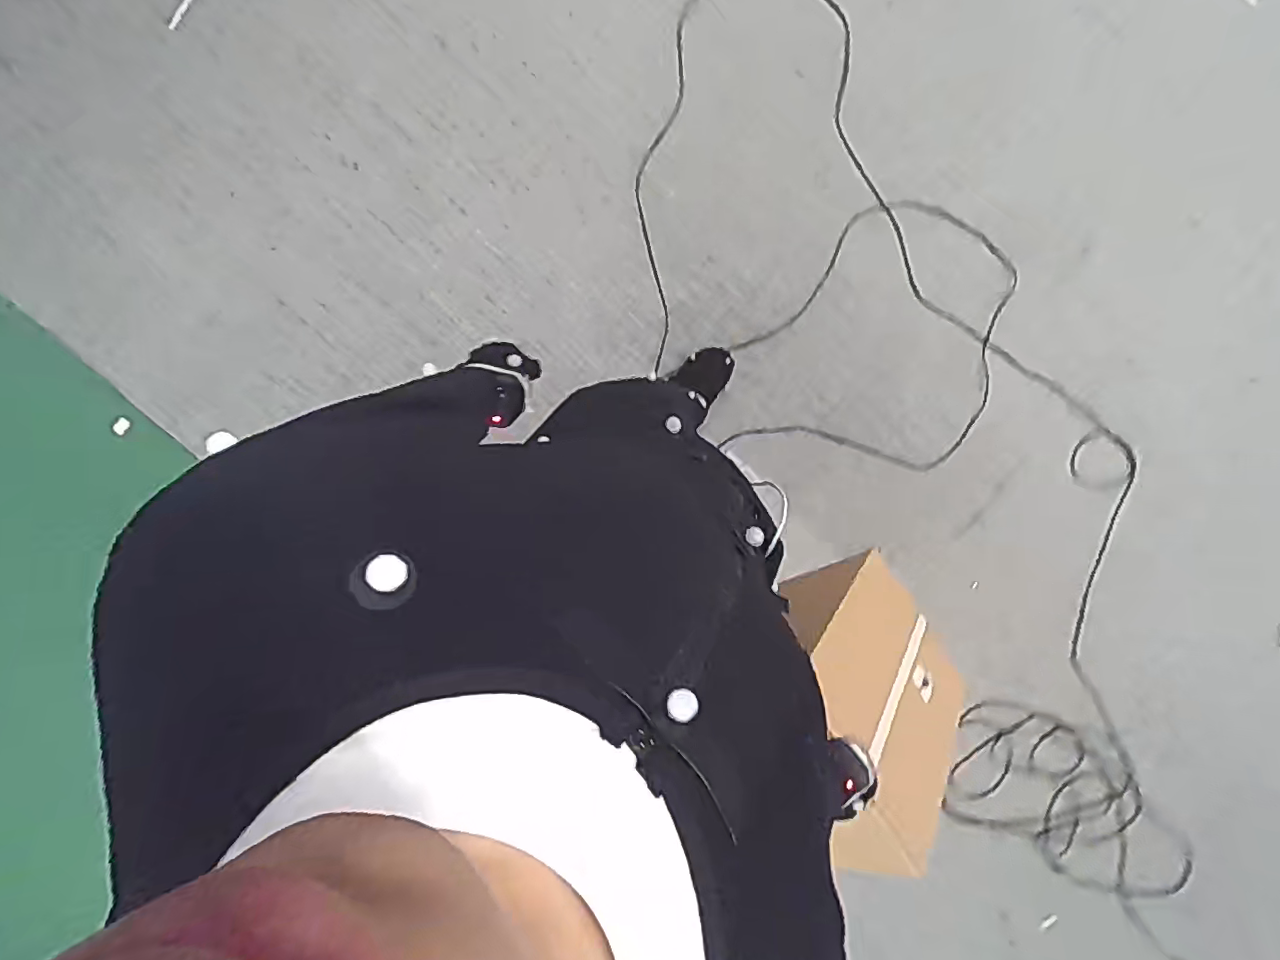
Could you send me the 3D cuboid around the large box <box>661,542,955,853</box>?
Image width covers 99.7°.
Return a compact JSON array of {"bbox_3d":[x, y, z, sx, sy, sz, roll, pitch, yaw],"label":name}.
[{"bbox_3d":[0.312,0.377,0.984,0.320,0.408,0.320,-32,90,43],"label":"large box"}]
